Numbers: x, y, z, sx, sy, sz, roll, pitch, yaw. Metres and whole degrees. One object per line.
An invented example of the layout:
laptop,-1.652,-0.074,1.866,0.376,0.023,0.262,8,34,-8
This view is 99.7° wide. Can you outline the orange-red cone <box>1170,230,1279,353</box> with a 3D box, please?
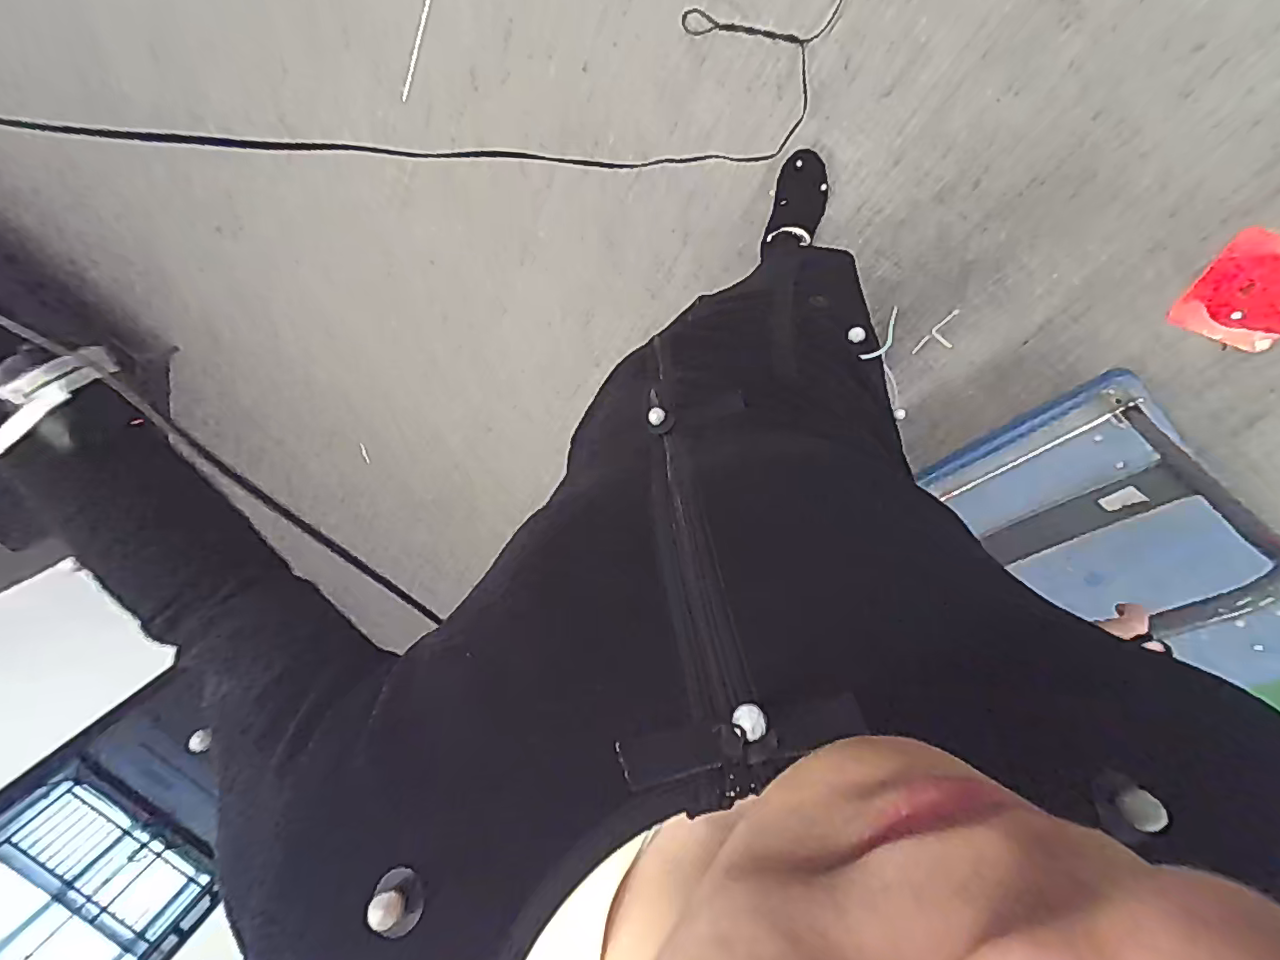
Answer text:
orange-red cone,1.182,-0.297,0.952,0.198,0.360,0.199,26,124,6
